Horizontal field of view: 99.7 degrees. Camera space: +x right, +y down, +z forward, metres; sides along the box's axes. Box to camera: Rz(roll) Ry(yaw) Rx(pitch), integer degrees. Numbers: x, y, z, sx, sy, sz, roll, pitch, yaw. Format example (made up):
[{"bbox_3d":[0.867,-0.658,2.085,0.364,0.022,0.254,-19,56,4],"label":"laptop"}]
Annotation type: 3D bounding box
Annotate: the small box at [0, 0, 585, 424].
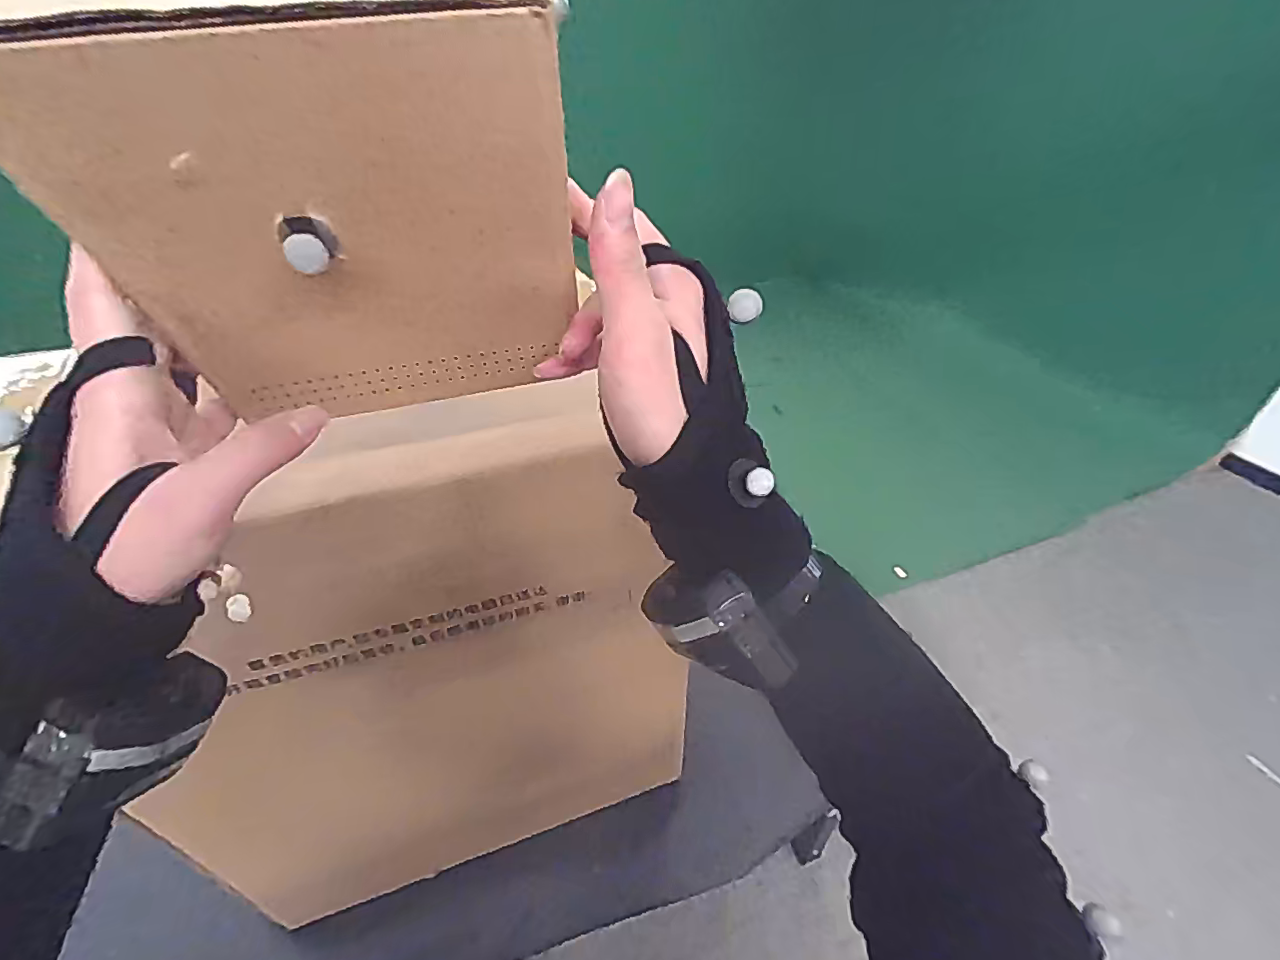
[{"bbox_3d":[-0.132,-0.147,0.263,0.179,0.176,0.168,-12,60,-8],"label":"small box"}]
